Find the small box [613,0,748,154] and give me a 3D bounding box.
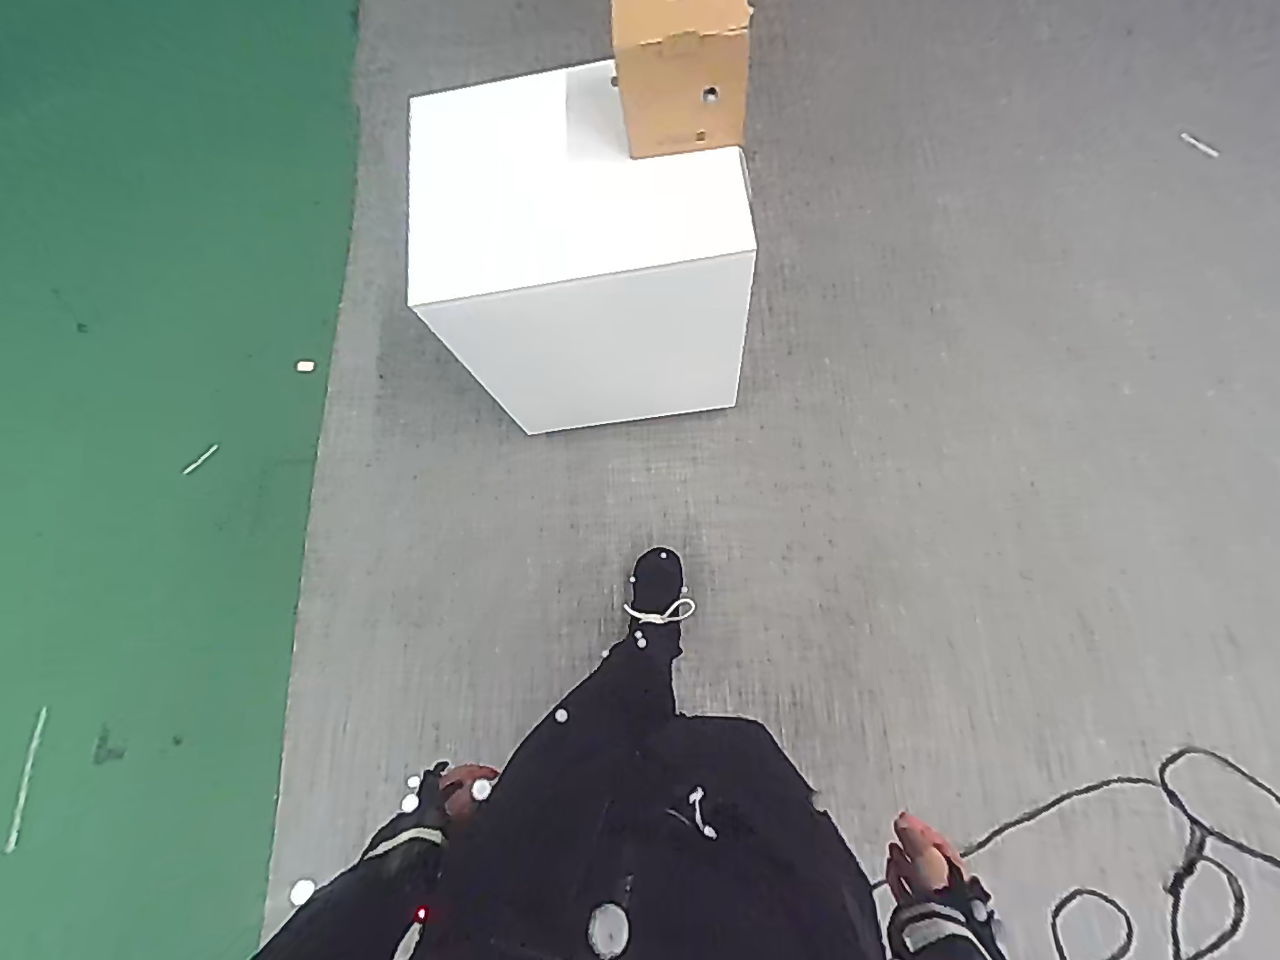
[{"bbox_3d":[0.057,-0.583,0.747,0.168,0.176,0.179,-4,74,5],"label":"small box"}]
